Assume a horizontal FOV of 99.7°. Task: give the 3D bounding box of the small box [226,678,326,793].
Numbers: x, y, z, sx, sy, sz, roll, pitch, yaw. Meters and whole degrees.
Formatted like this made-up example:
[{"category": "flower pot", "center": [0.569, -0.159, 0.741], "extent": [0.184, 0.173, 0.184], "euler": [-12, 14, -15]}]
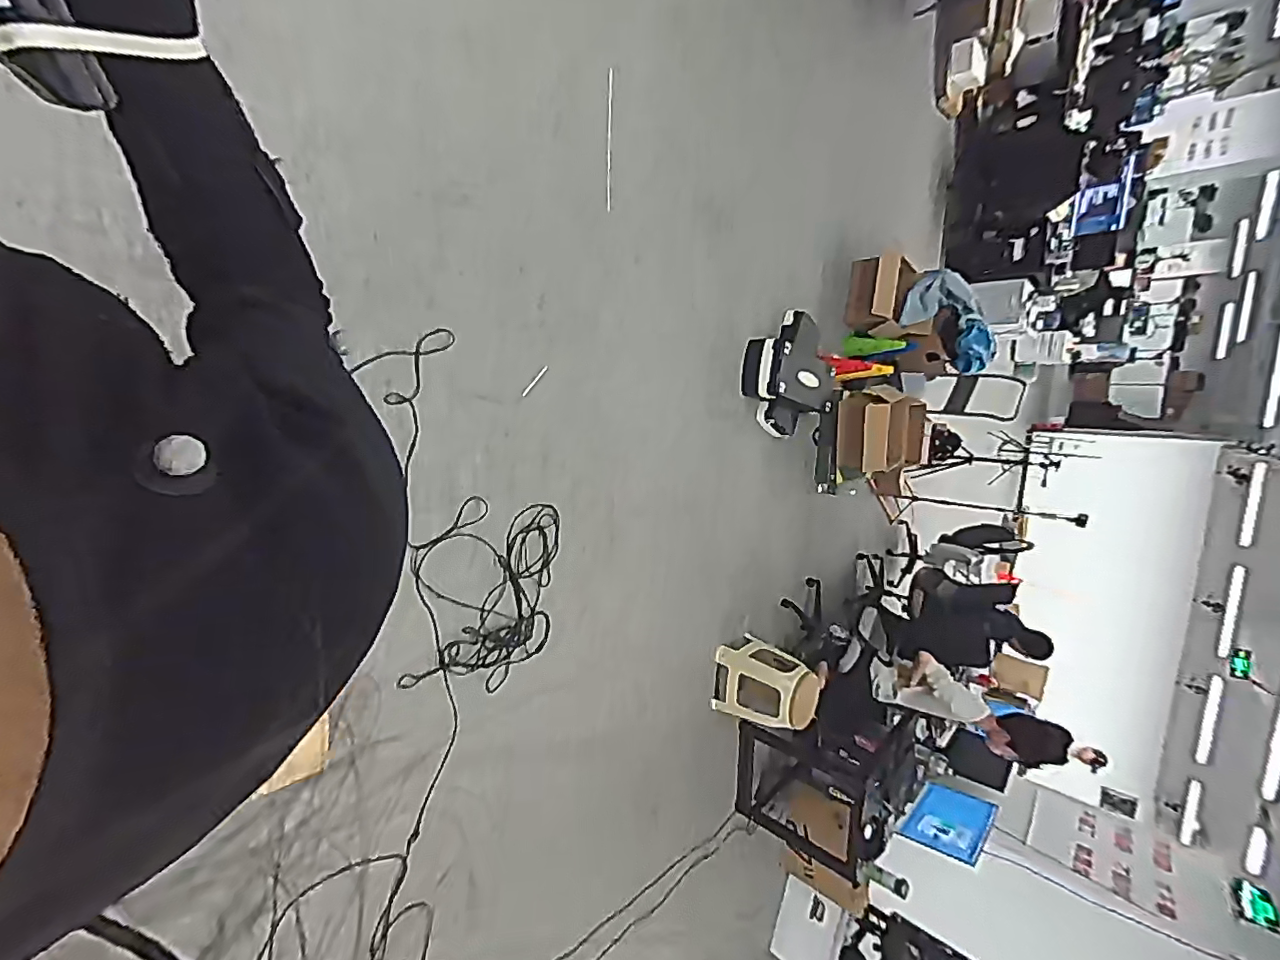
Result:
[{"category": "small box", "center": [-0.874, 0.596, 1.295], "extent": [0.168, 0.176, 0.179], "euler": [-3, 99, -48]}]
